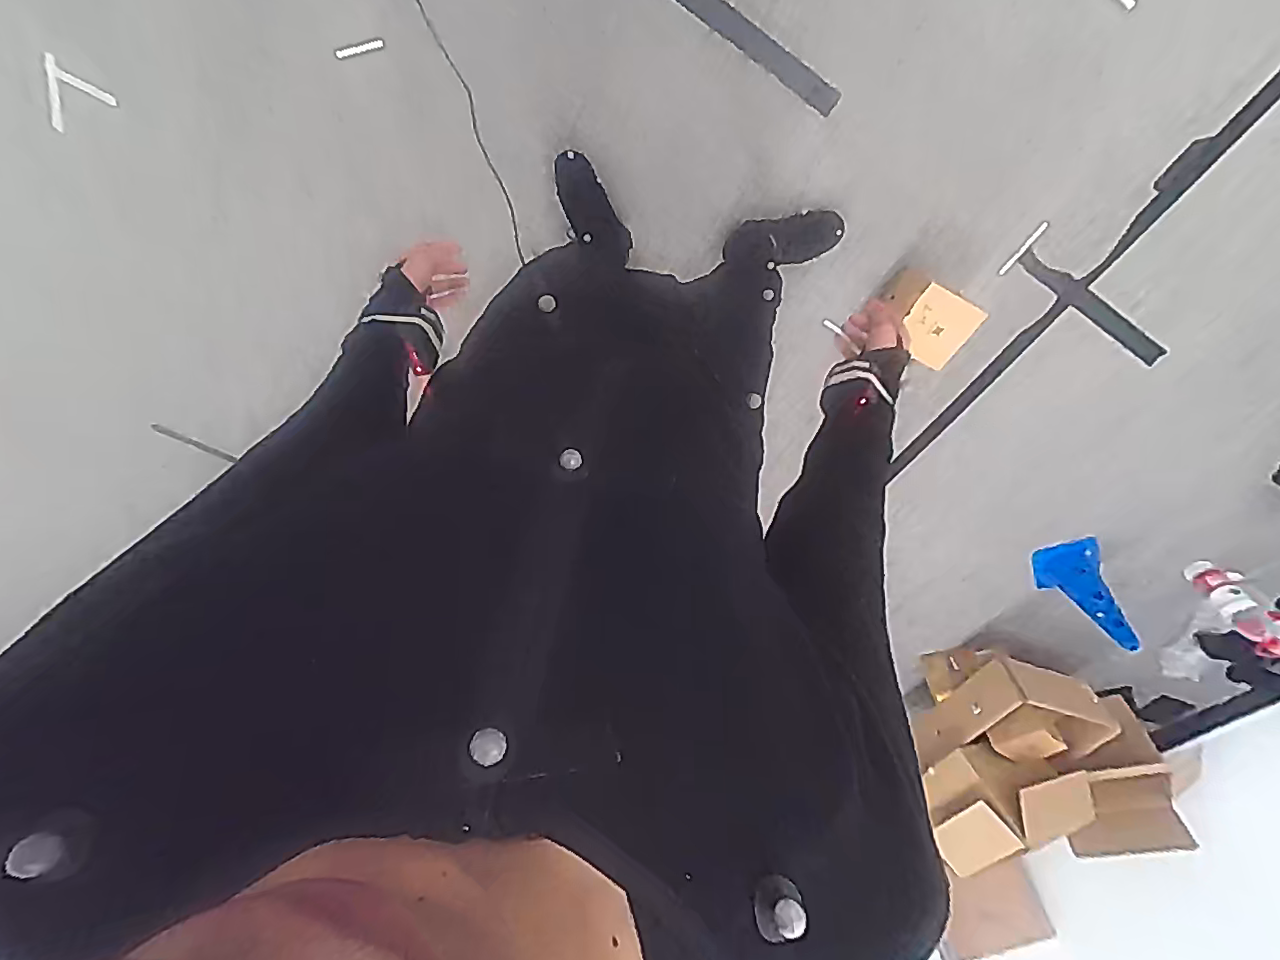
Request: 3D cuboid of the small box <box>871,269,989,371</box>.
[{"bbox_3d":[0.723,-0.411,1.369,0.179,0.176,0.168,24,124,-10],"label":"small box"}]
